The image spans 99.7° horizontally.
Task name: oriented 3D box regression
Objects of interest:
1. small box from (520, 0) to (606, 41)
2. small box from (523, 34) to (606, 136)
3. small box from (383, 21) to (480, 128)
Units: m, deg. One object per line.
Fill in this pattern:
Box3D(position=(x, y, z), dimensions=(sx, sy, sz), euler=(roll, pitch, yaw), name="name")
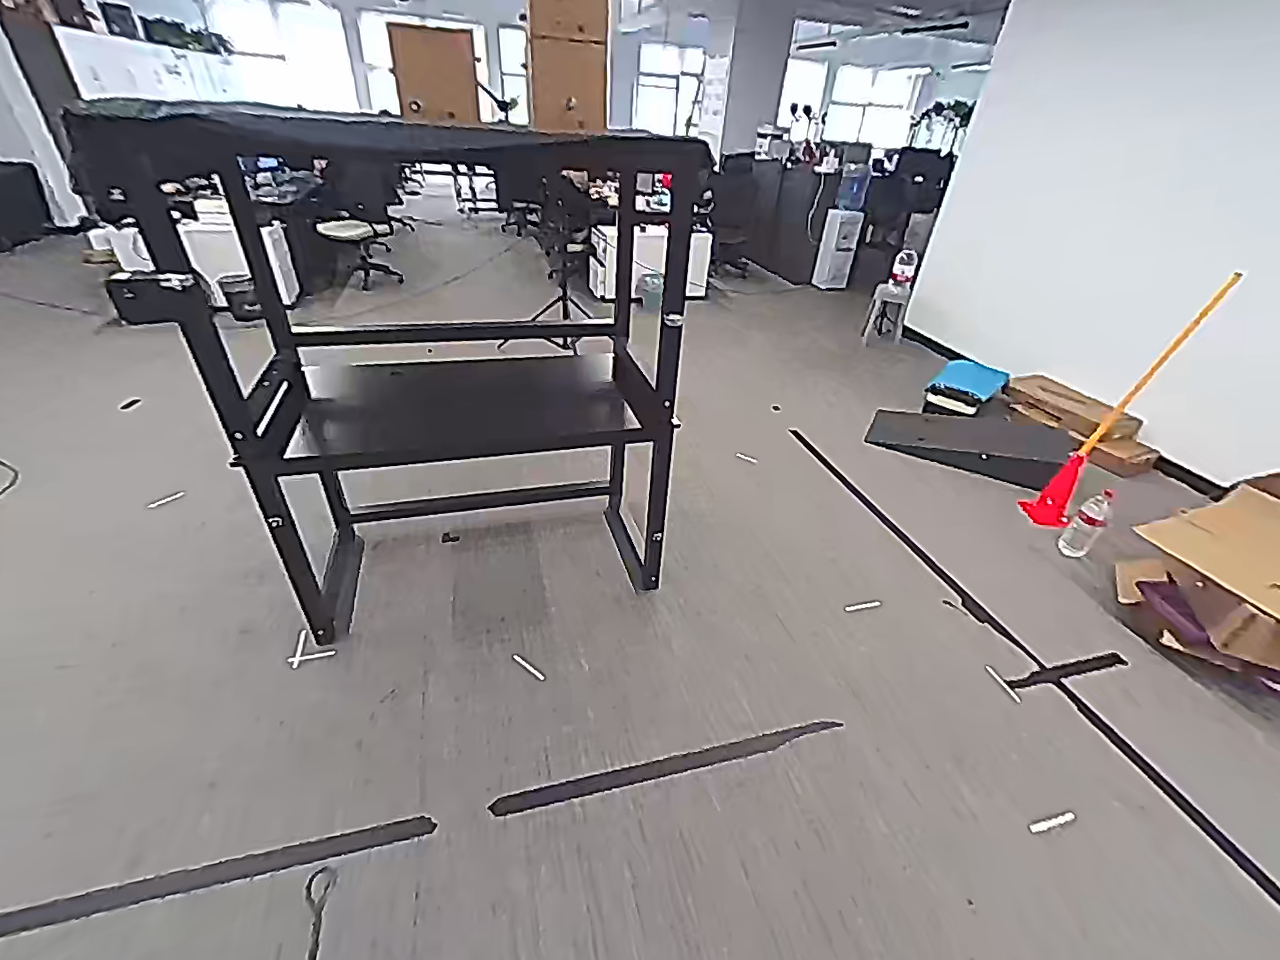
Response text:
Box3D(position=(-0.165, -1.028, 1.142), dimensions=(0.168, 0.176, 0.179), euler=(-6, 35, -13), name="small box")
Box3D(position=(-0.174, -0.891, 1.232), dimensions=(0.168, 0.176, 0.179), euler=(-7, 35, -13), name="small box")
Box3D(position=(-0.438, -0.859, 1.161), dimensions=(0.168, 0.176, 0.179), euler=(-6, 33, -15), name="small box")
